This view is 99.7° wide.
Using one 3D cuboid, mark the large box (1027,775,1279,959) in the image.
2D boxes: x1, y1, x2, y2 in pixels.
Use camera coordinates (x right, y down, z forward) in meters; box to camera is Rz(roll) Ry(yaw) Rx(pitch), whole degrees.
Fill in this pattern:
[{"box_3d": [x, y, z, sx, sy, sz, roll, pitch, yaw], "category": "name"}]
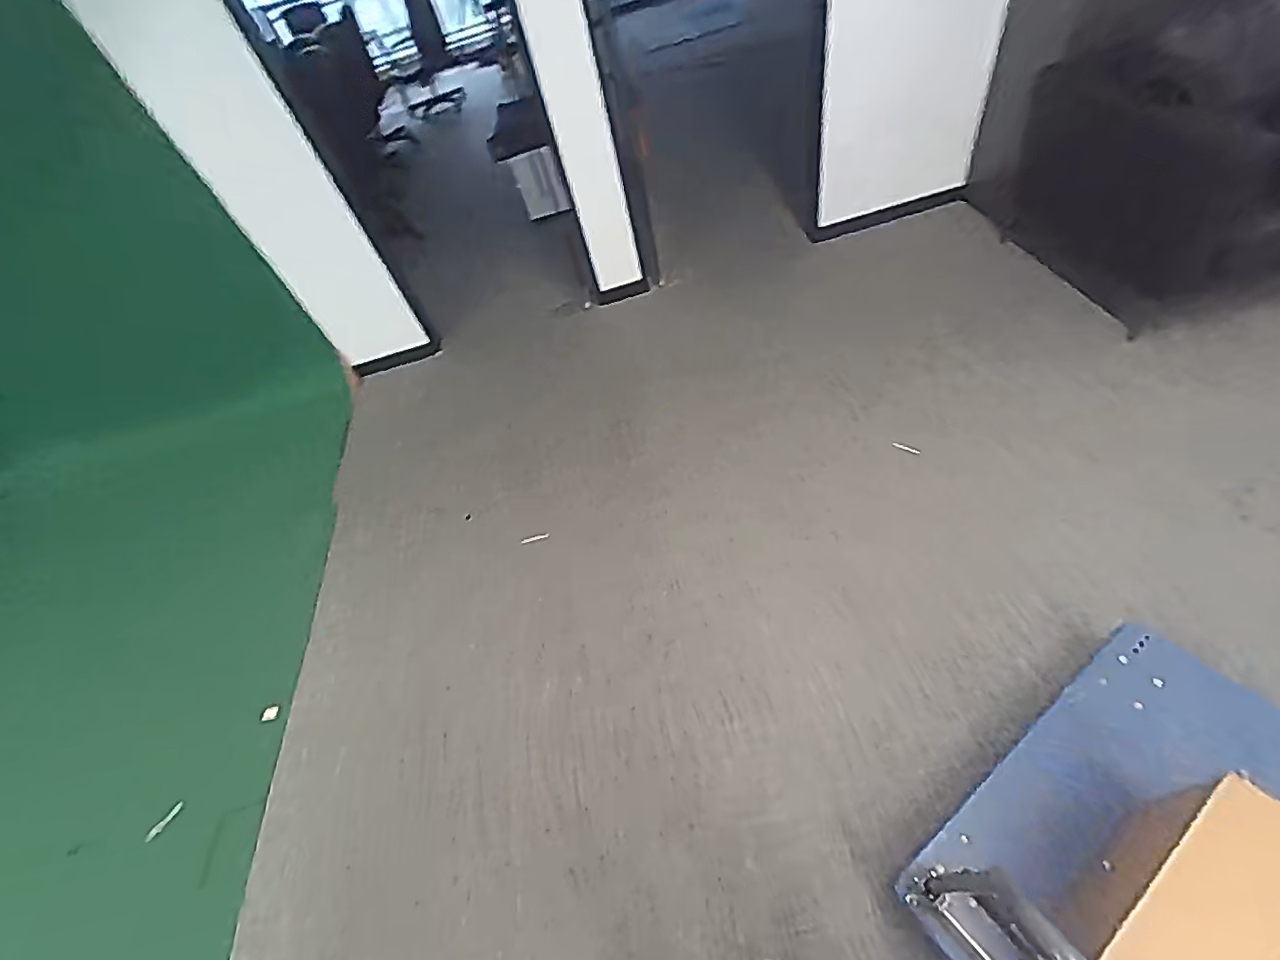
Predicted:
[{"box_3d": [0.905, 0.765, 0.840, 0.408, 0.320, 0.320, -35, 52, -16], "category": "large box"}]
